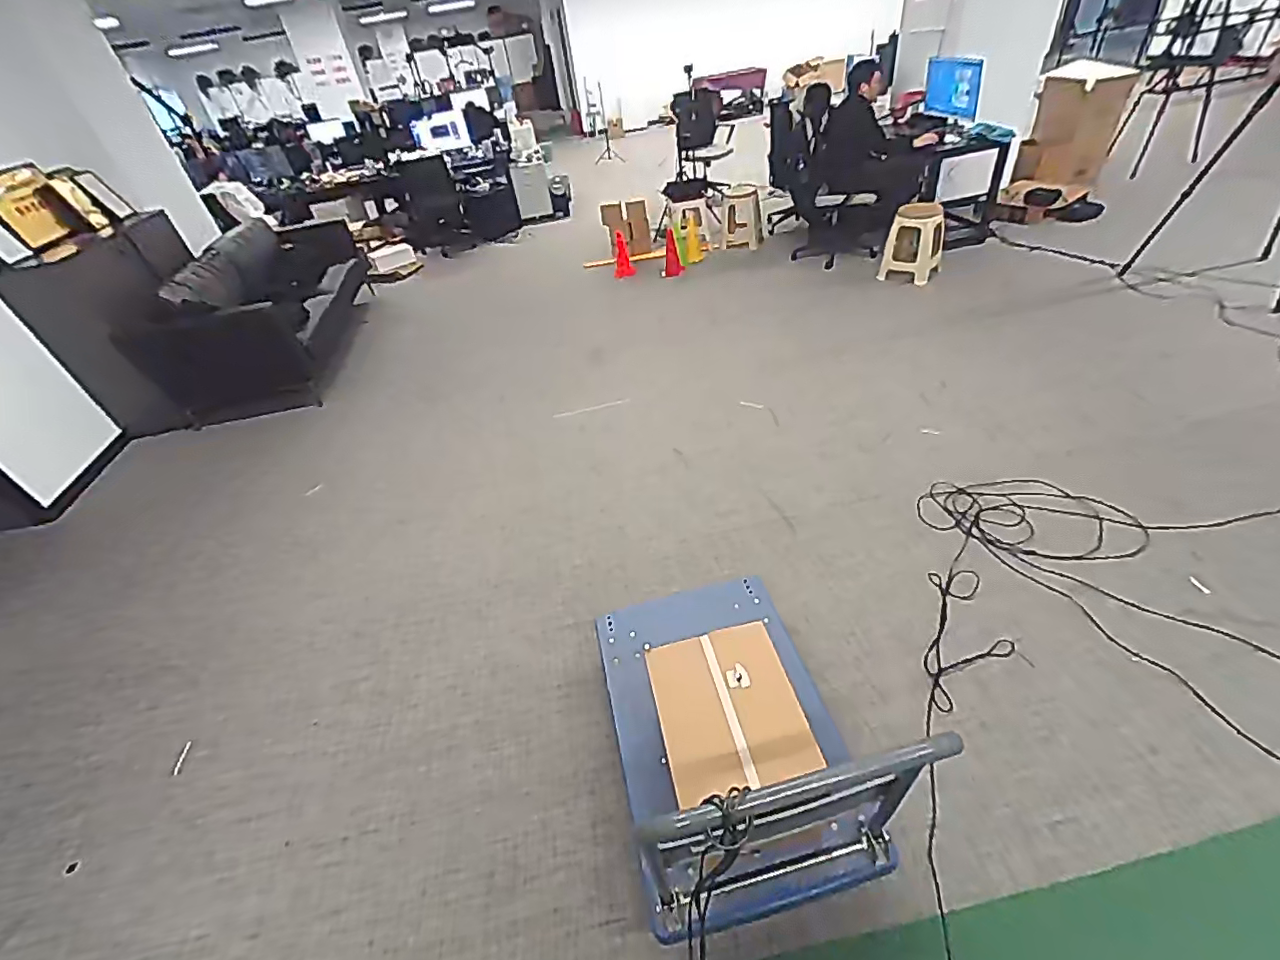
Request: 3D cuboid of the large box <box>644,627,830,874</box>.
[{"bbox_3d":[0.219,0.642,1.311,0.320,0.320,0.408,-12,39,-4],"label":"large box"}]
